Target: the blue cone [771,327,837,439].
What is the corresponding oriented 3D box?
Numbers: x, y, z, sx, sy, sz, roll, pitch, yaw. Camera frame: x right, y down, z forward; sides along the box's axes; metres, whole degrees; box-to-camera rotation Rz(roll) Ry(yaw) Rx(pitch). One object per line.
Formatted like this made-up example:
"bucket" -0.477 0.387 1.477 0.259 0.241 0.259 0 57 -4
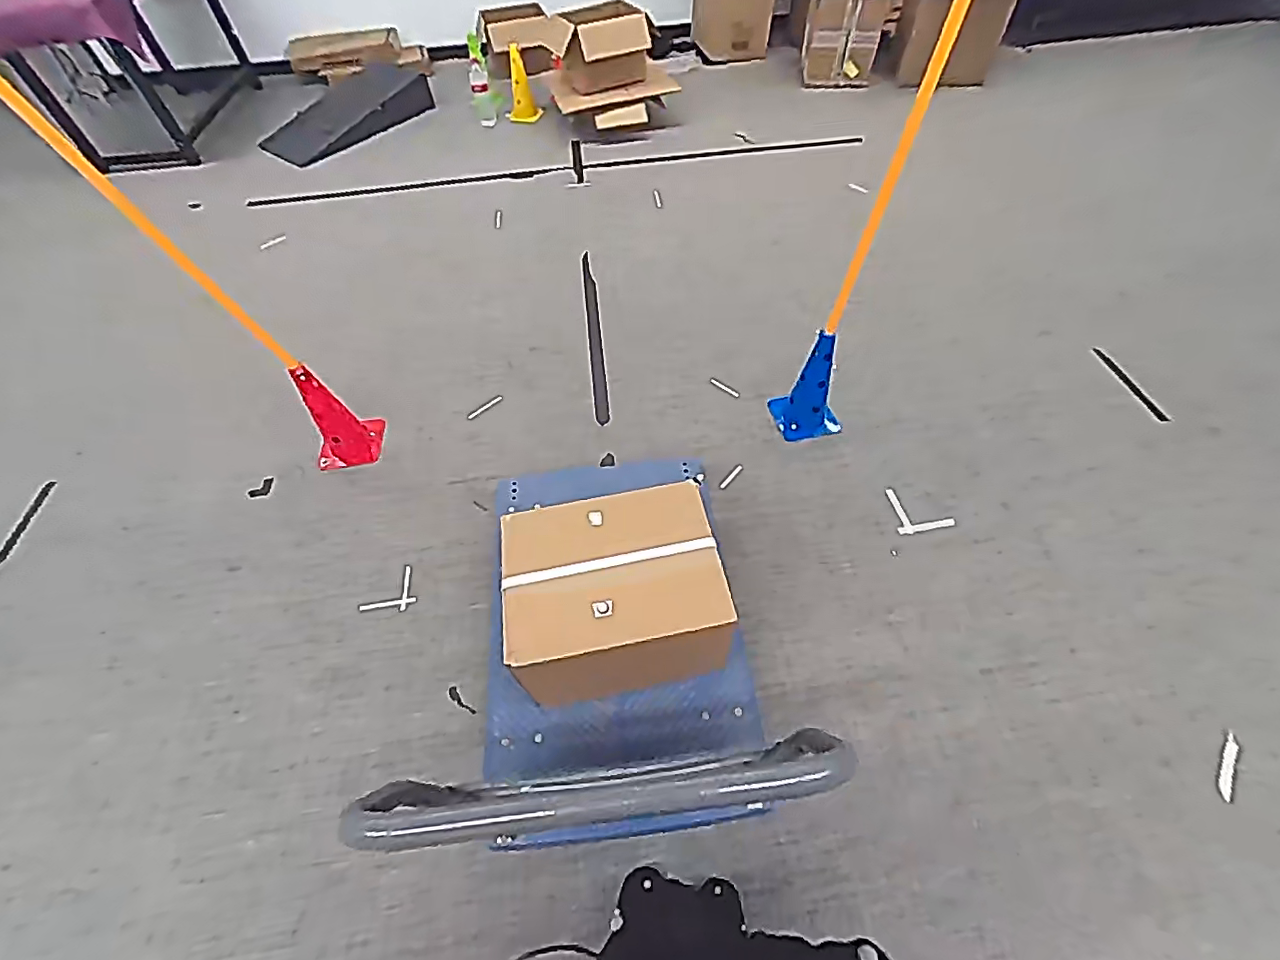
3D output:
"blue cone" 0.558 -0.316 1.717 0.193 0.380 0.192 -10 53 -5
